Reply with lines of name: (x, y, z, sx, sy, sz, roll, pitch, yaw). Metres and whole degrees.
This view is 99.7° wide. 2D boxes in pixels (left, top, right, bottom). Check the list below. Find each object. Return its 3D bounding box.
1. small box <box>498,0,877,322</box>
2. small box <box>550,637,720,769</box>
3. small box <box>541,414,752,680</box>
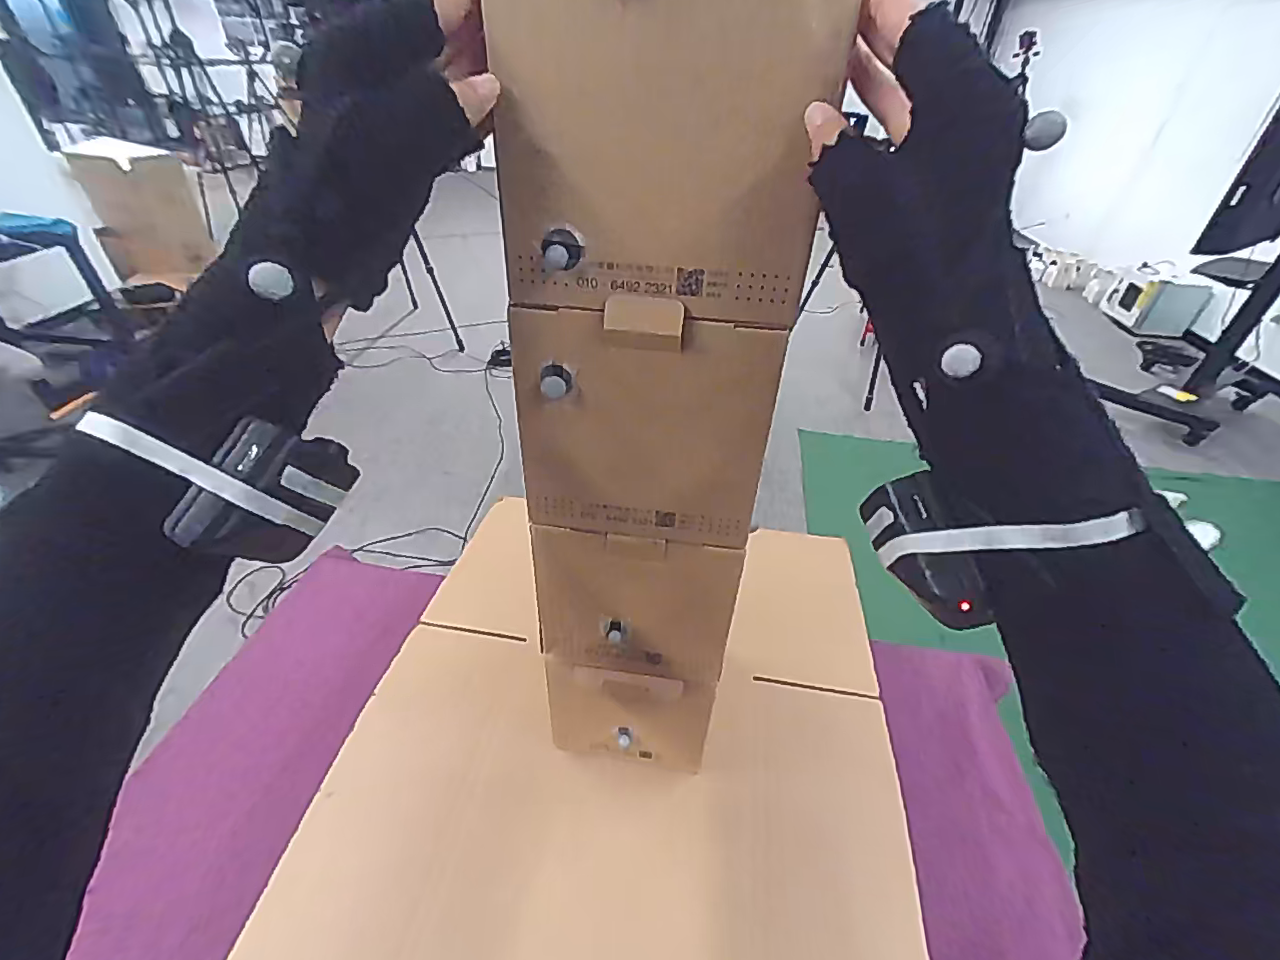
small box: (0.025, -0.207, 0.326, 0.168, 0.176, 0.179, 4, 38, 1)
small box: (0.003, 0.190, 0.615, 0.168, 0.176, 0.179, 8, 37, 6)
small box: (0.009, 0.059, 0.519, 0.168, 0.176, 0.179, 7, 37, 4)
